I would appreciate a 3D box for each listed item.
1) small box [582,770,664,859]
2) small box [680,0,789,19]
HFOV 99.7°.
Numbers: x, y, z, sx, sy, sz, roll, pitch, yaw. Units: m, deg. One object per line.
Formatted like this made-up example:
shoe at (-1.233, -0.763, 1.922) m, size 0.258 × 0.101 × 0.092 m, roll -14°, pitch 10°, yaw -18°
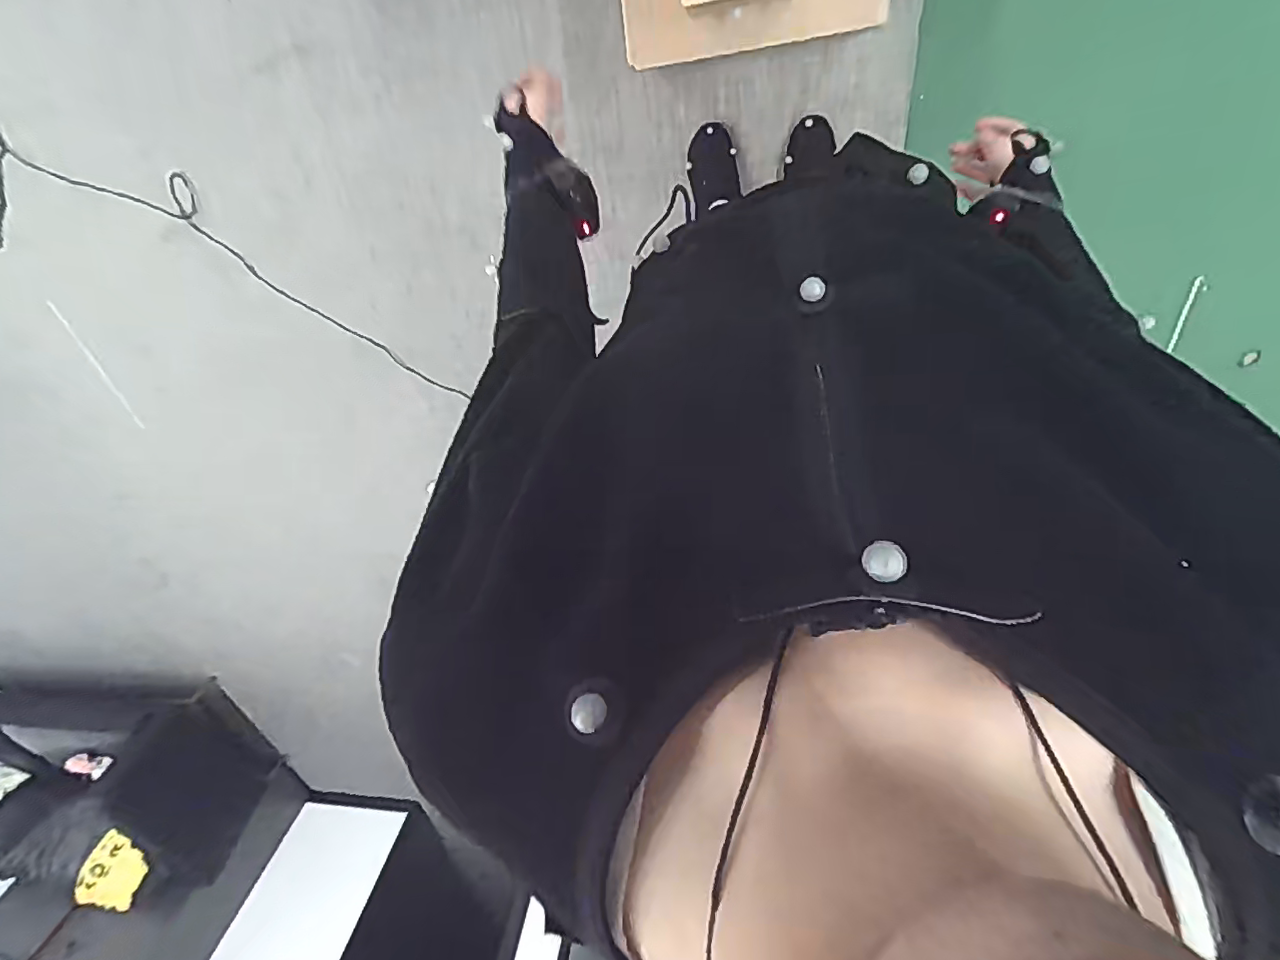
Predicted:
small box at (-0.044, 1.016, 1.647) m, size 0.179 × 0.176 × 0.168 m, roll -29°, pitch 115°, yaw 26°
small box at (0.134, -0.744, 0.716) m, size 0.168 × 0.176 × 0.179 m, roll -1°, pitch 127°, yaw 12°
